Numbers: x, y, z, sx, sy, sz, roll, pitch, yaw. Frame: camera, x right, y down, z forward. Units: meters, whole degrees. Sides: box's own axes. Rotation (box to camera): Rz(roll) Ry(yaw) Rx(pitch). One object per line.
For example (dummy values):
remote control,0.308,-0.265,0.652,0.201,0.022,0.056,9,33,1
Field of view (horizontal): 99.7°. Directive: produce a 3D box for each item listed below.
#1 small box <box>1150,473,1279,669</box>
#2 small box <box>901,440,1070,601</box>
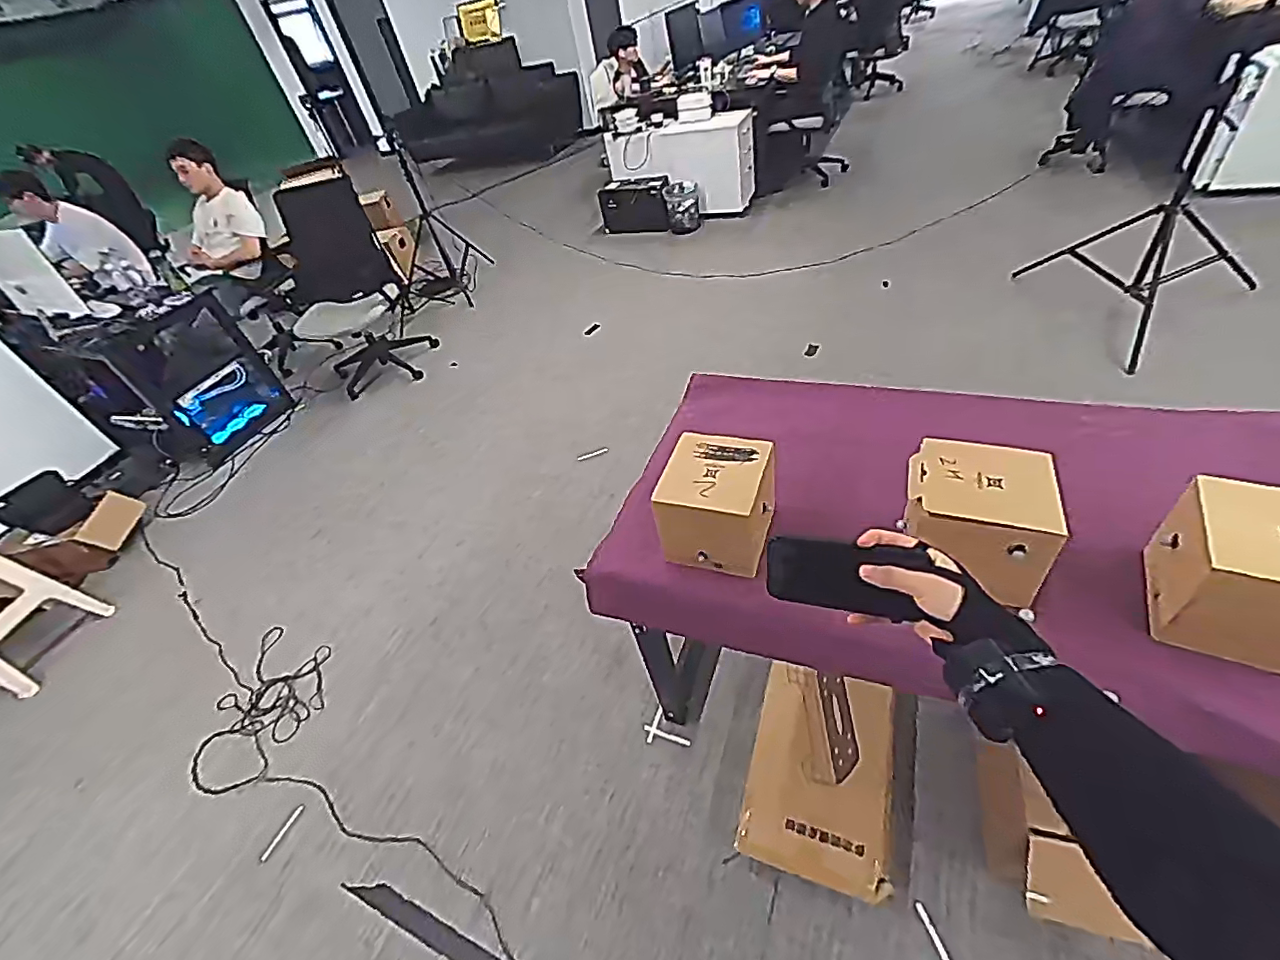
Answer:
small box,0.794,0.120,0.689,0.179,0.176,0.168,14,50,27
small box,0.511,0.062,0.823,0.179,0.176,0.168,8,45,22
